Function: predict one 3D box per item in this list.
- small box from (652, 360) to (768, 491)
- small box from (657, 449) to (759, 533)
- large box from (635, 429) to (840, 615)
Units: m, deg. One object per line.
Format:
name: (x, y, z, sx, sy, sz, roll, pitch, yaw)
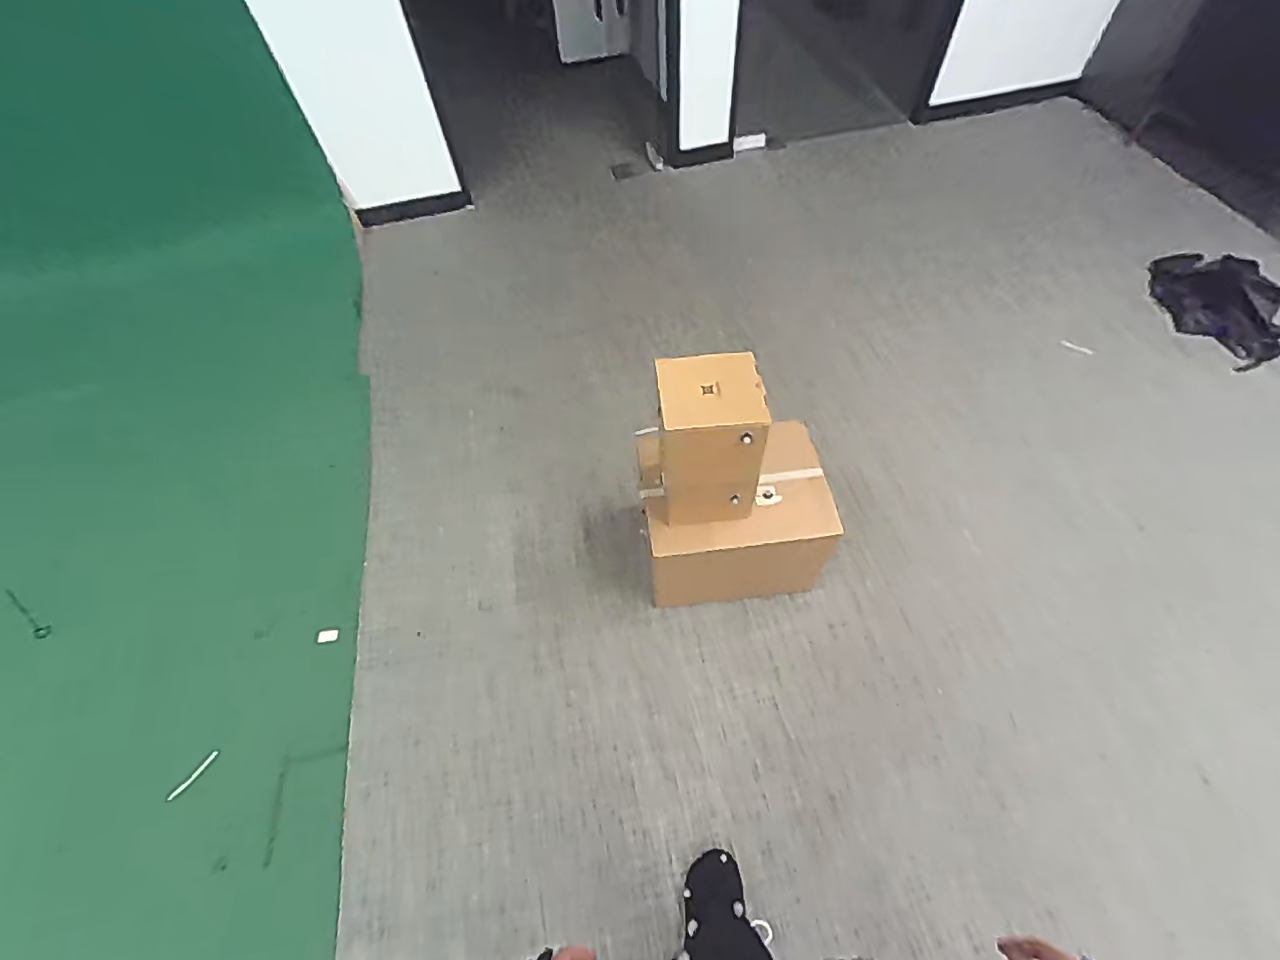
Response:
small box: (0.118, -0.092, 0.973, 0.179, 0.176, 0.168, -5, 55, -1)
small box: (0.130, -0.007, 1.112, 0.179, 0.176, 0.168, -8, 55, -1)
large box: (0.207, 0.109, 1.321, 0.408, 0.320, 0.320, -7, 57, -3)
